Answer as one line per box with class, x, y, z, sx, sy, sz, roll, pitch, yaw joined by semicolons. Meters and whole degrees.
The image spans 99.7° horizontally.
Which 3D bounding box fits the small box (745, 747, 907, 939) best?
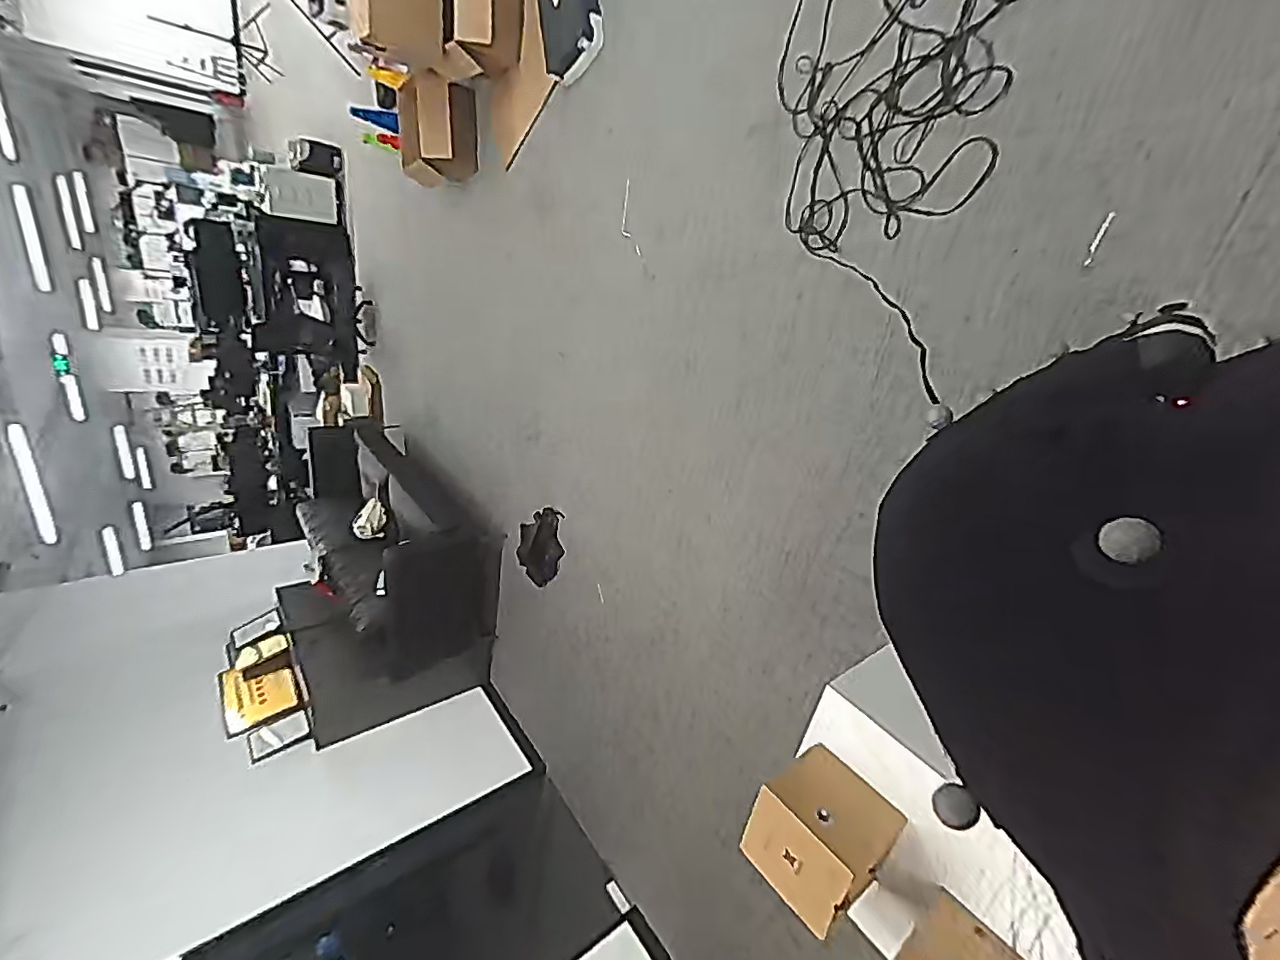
small box;0.311;0.591;0.907;0.179;0.176;0.168;33;121;43
